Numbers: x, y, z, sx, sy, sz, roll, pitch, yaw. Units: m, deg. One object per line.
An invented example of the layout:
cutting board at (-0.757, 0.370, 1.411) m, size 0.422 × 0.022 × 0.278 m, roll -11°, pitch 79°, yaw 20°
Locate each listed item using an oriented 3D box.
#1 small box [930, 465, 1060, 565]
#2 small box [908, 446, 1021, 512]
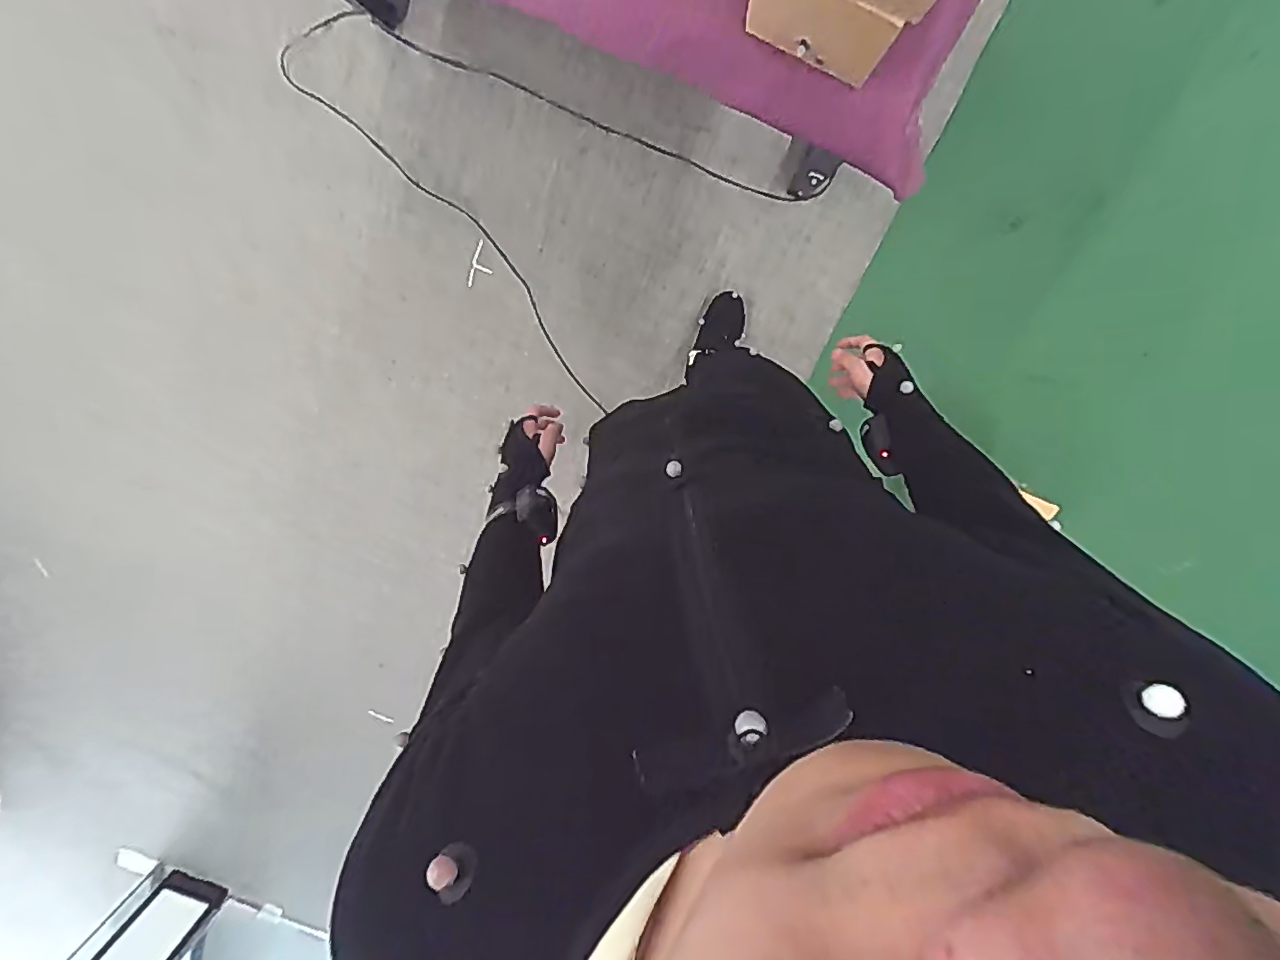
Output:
small box at (0.862, 0.077, 1.336) m, size 0.179 × 0.176 × 0.168 m, roll 23°, pitch 109°, yaw -2°
small box at (0.881, 0.022, 1.486) m, size 0.179 × 0.176 × 0.168 m, roll 24°, pitch 109°, yaw 0°
